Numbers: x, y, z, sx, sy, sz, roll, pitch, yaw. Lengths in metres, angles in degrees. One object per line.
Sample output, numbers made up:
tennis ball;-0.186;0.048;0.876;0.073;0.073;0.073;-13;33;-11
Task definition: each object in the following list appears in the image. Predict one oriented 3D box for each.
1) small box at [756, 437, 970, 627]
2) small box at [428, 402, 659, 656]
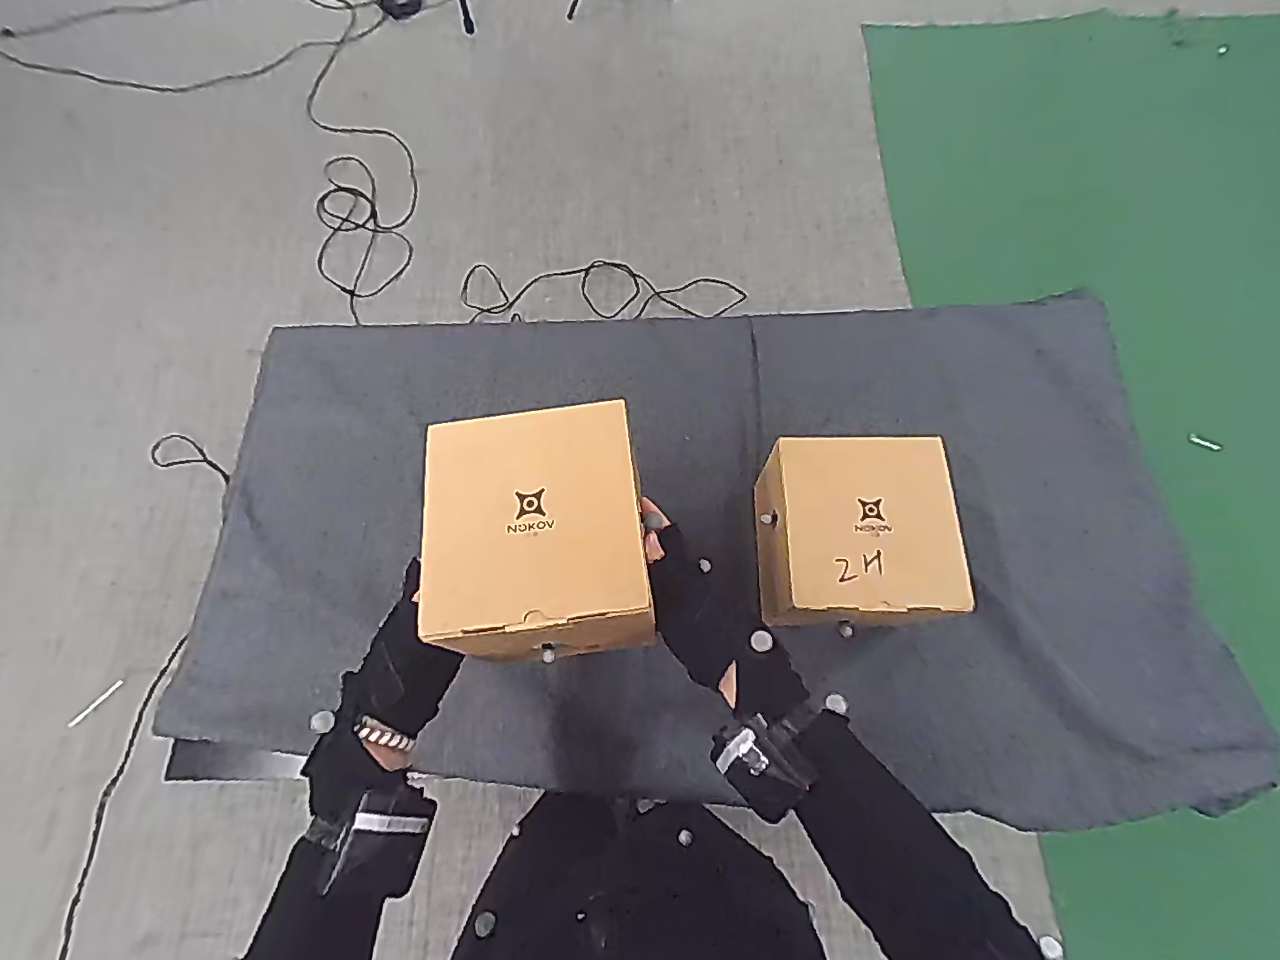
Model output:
small box;0.227;0.065;0.602;0.168;0.176;0.179;0;71;2
small box;-0.075;0.053;0.487;0.168;0.176;0.179;-7;68;-1
